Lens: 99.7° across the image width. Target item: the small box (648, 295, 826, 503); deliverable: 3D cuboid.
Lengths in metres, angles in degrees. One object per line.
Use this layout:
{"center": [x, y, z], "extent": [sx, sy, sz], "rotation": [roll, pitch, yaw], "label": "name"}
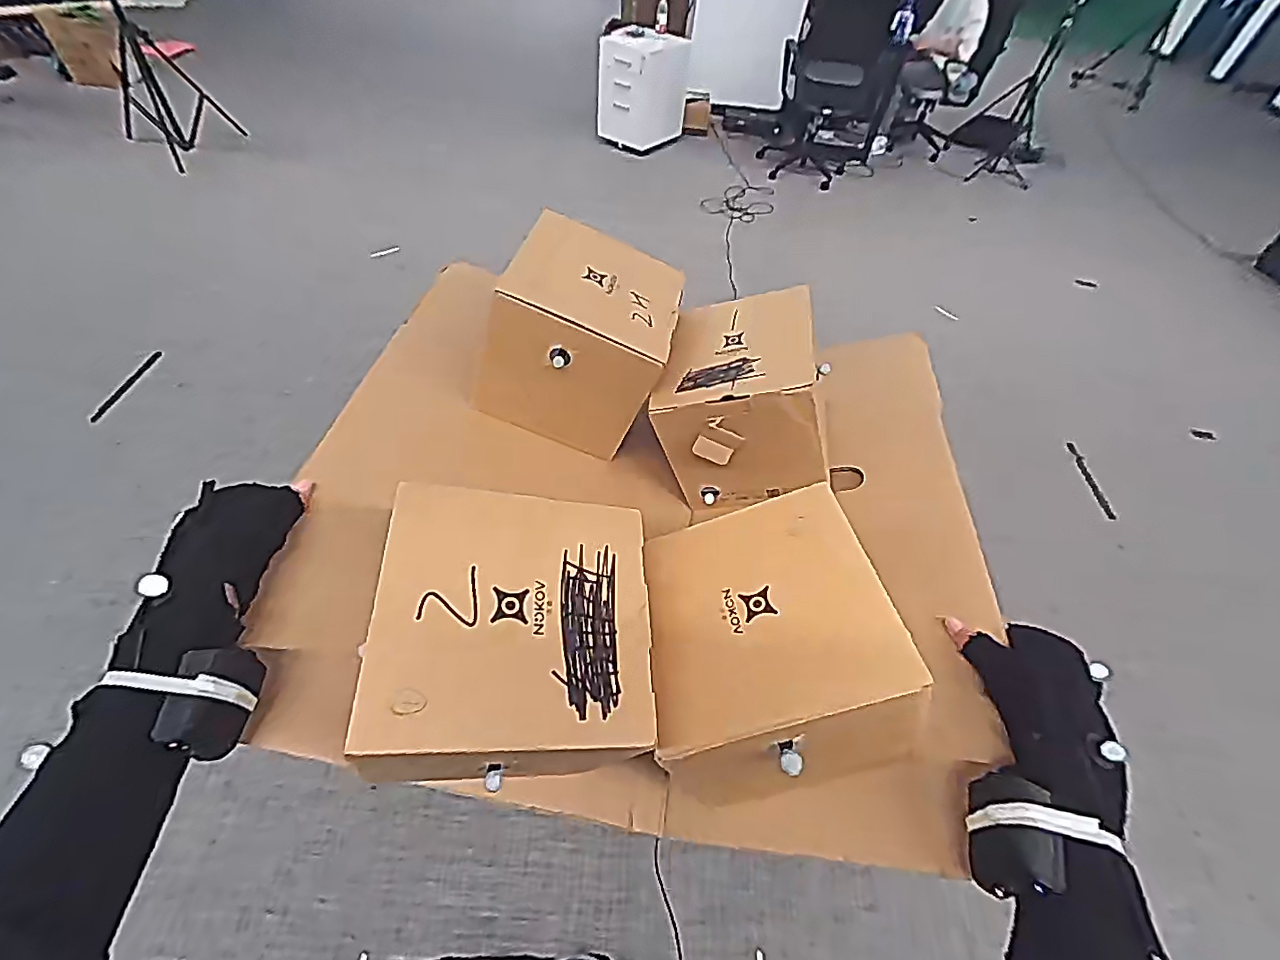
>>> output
{"center": [0.124, -0.084, 0.638], "extent": [0.168, 0.176, 0.179], "rotation": [-5, 47, 21], "label": "small box"}
